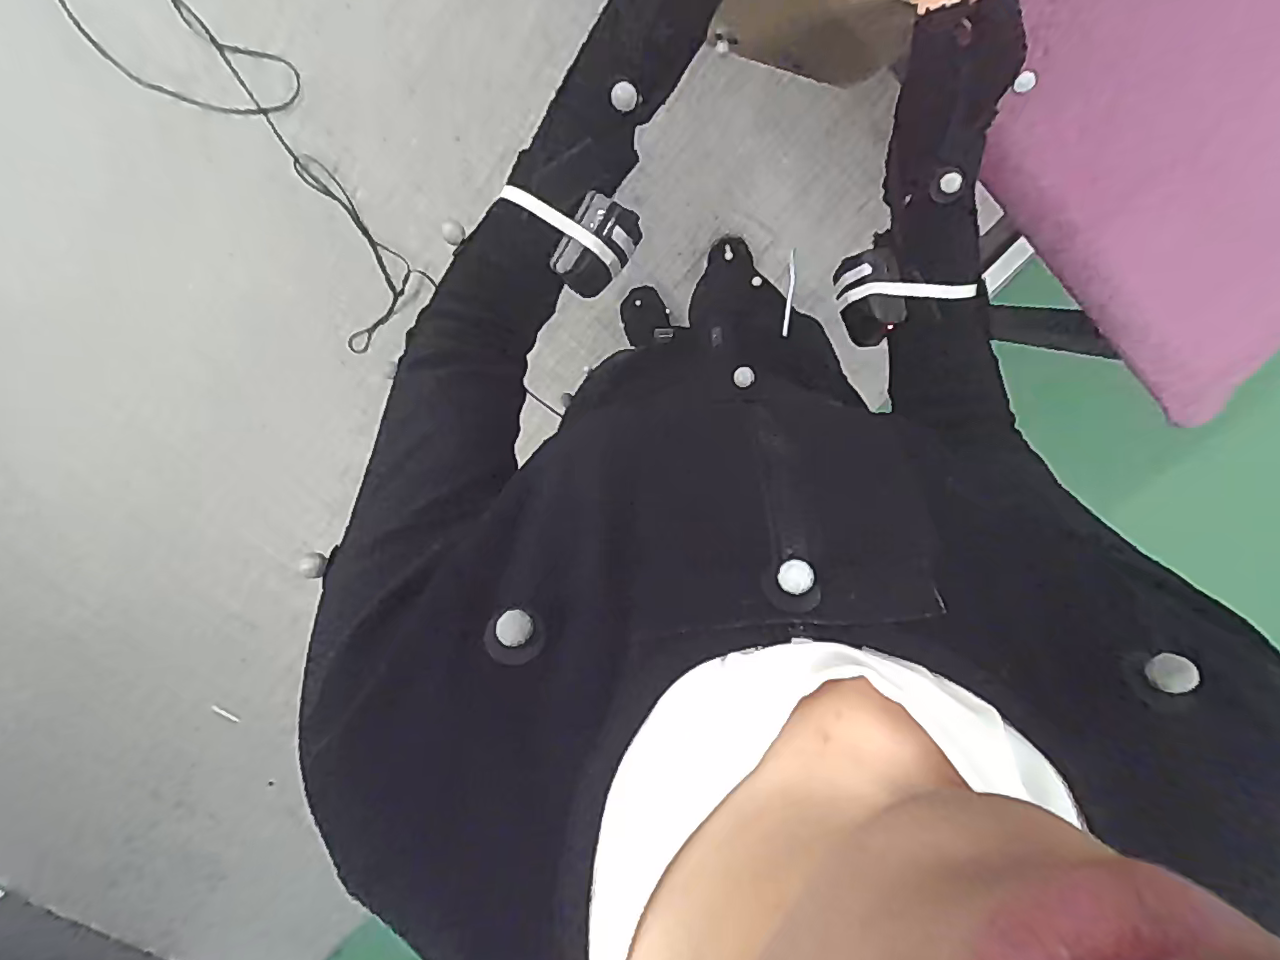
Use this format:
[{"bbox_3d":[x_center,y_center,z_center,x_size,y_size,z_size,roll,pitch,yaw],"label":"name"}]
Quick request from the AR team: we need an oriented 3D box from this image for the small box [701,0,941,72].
[{"bbox_3d":[0.146,-0.437,0.389,0.168,0.176,0.179,13,110,-6],"label":"small box"}]

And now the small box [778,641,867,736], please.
[{"bbox_3d":[0.548,0.628,1.644,0.179,0.176,0.168,42,106,-12],"label":"small box"}]
